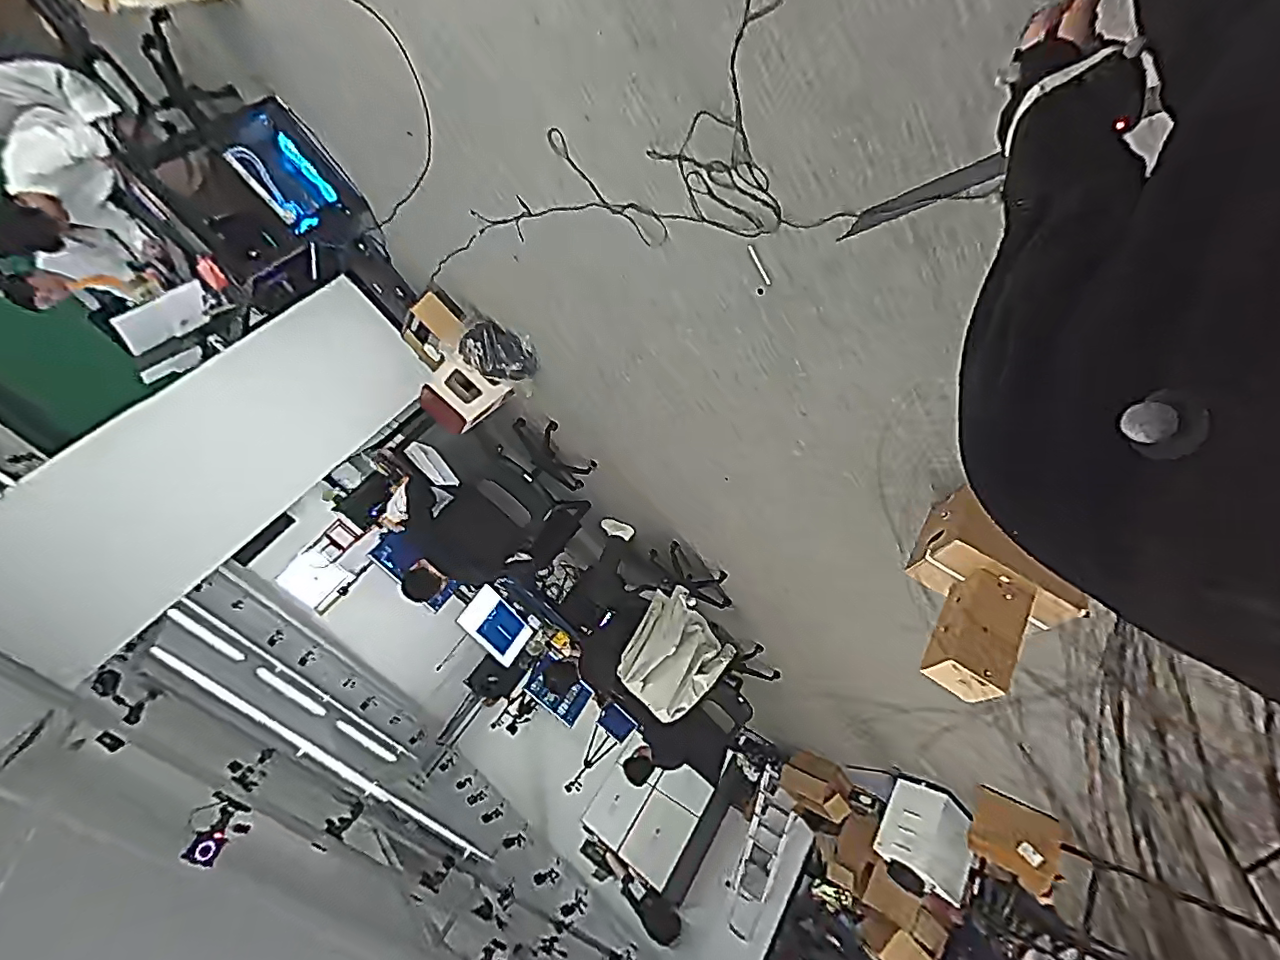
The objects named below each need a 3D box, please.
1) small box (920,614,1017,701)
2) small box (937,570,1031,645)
[{"bbox_3d":[0.978,0.527,1.608,0.168,0.176,0.179,32,153,12],"label":"small box"},{"bbox_3d":[1.071,0.411,1.679,0.168,0.176,0.179,32,152,13],"label":"small box"}]
